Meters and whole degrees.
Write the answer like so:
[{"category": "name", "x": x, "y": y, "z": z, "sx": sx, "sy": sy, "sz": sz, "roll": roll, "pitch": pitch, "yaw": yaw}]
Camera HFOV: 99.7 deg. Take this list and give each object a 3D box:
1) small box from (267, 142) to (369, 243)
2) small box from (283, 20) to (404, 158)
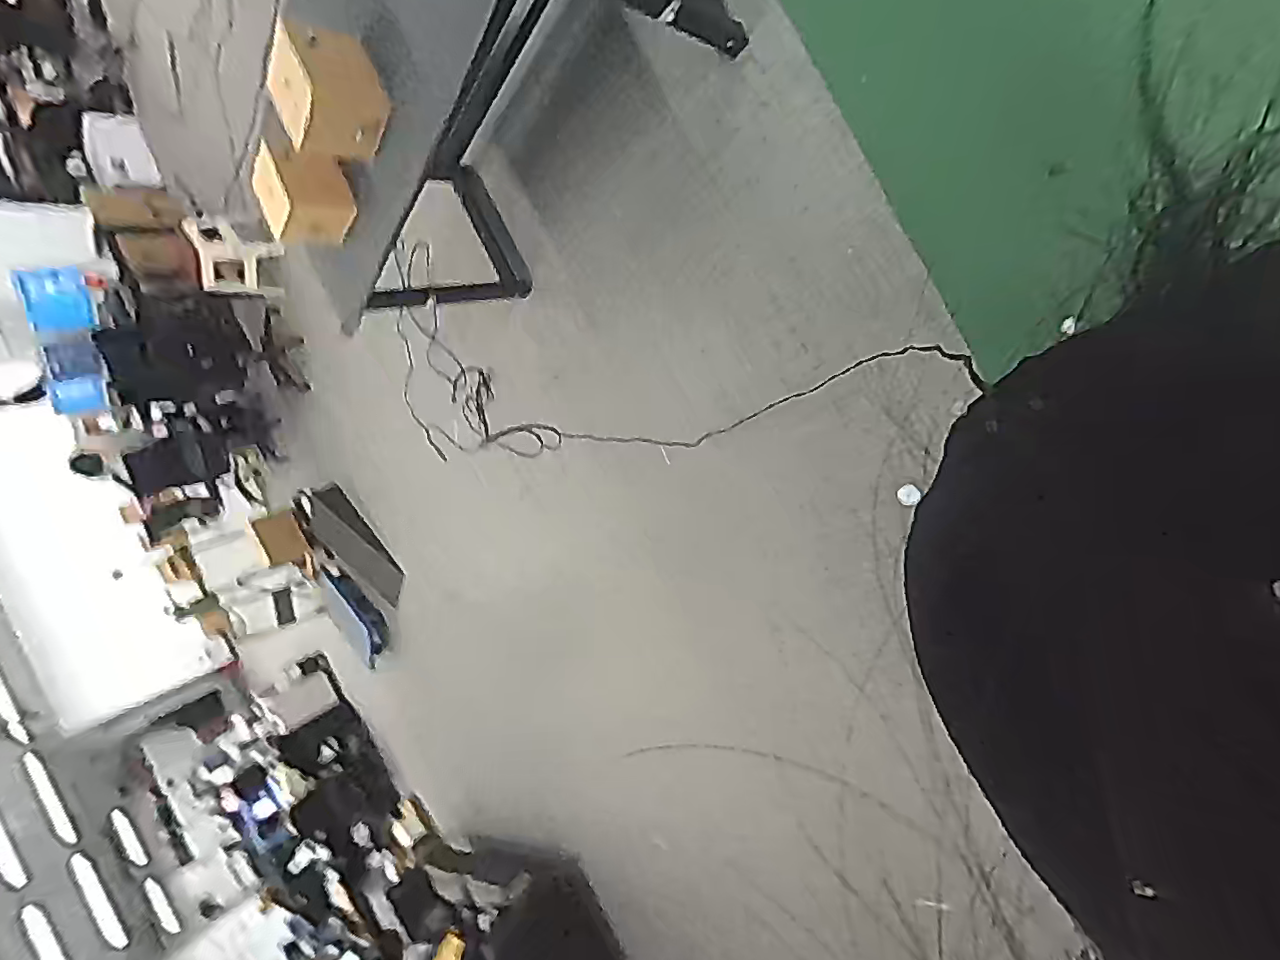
[{"category": "small box", "x": -0.846, "y": -0.750, "z": 1.427, "sx": 0.168, "sy": 0.176, "sz": 0.179, "roll": -21, "pitch": 91, "yaw": 45}, {"category": "small box", "x": -0.663, "y": -0.860, "z": 1.213, "sx": 0.168, "sy": 0.176, "sz": 0.179, "roll": -28, "pitch": 87, "yaw": 46}]
